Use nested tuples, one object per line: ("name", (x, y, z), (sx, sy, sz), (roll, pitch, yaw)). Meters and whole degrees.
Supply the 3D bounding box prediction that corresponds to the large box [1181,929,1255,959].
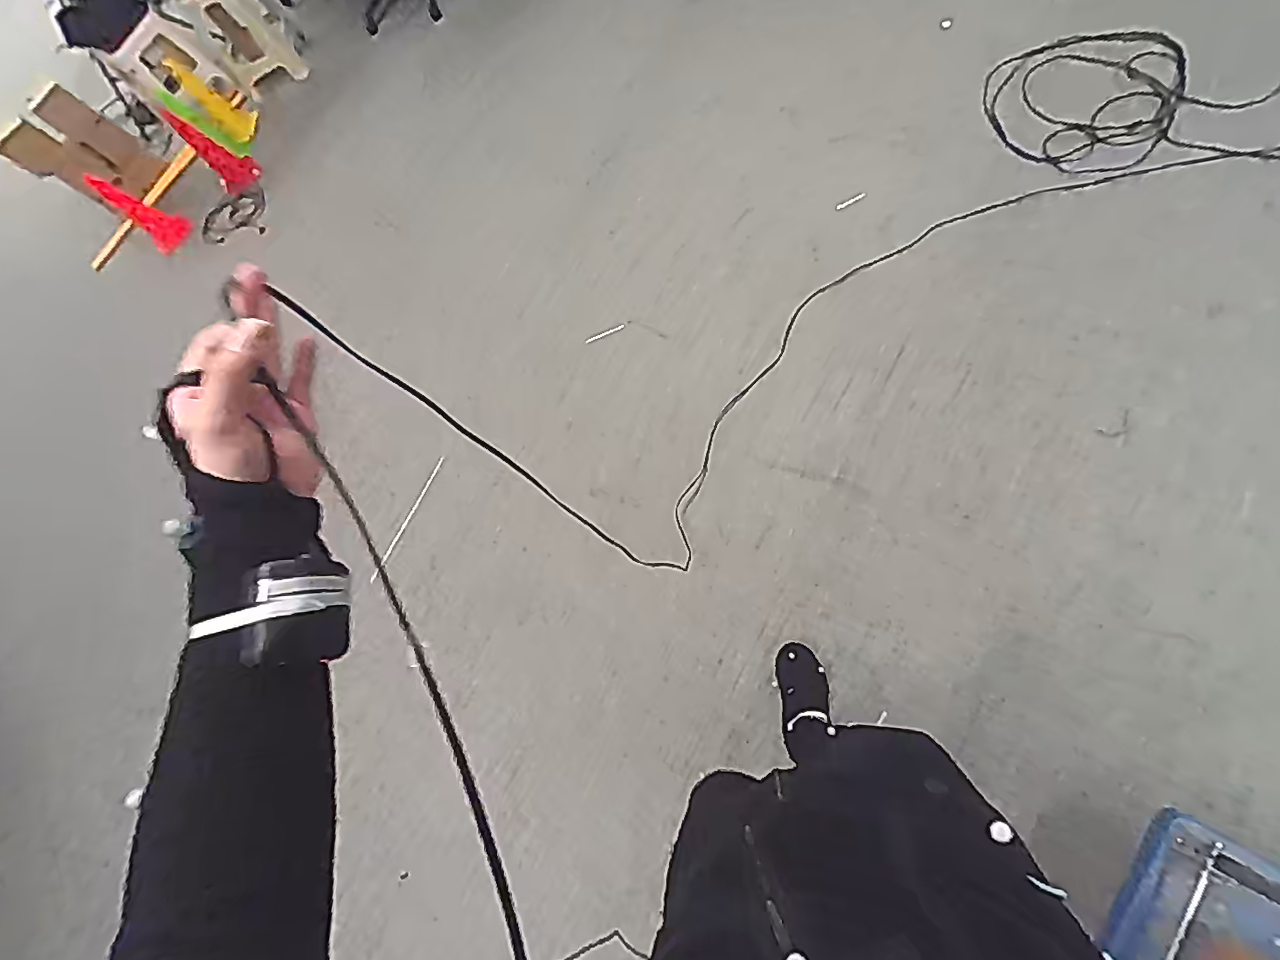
("large box", (1.022, 0.947, 0.720), (0.408, 0.320, 0.320), (28, 83, 22))
